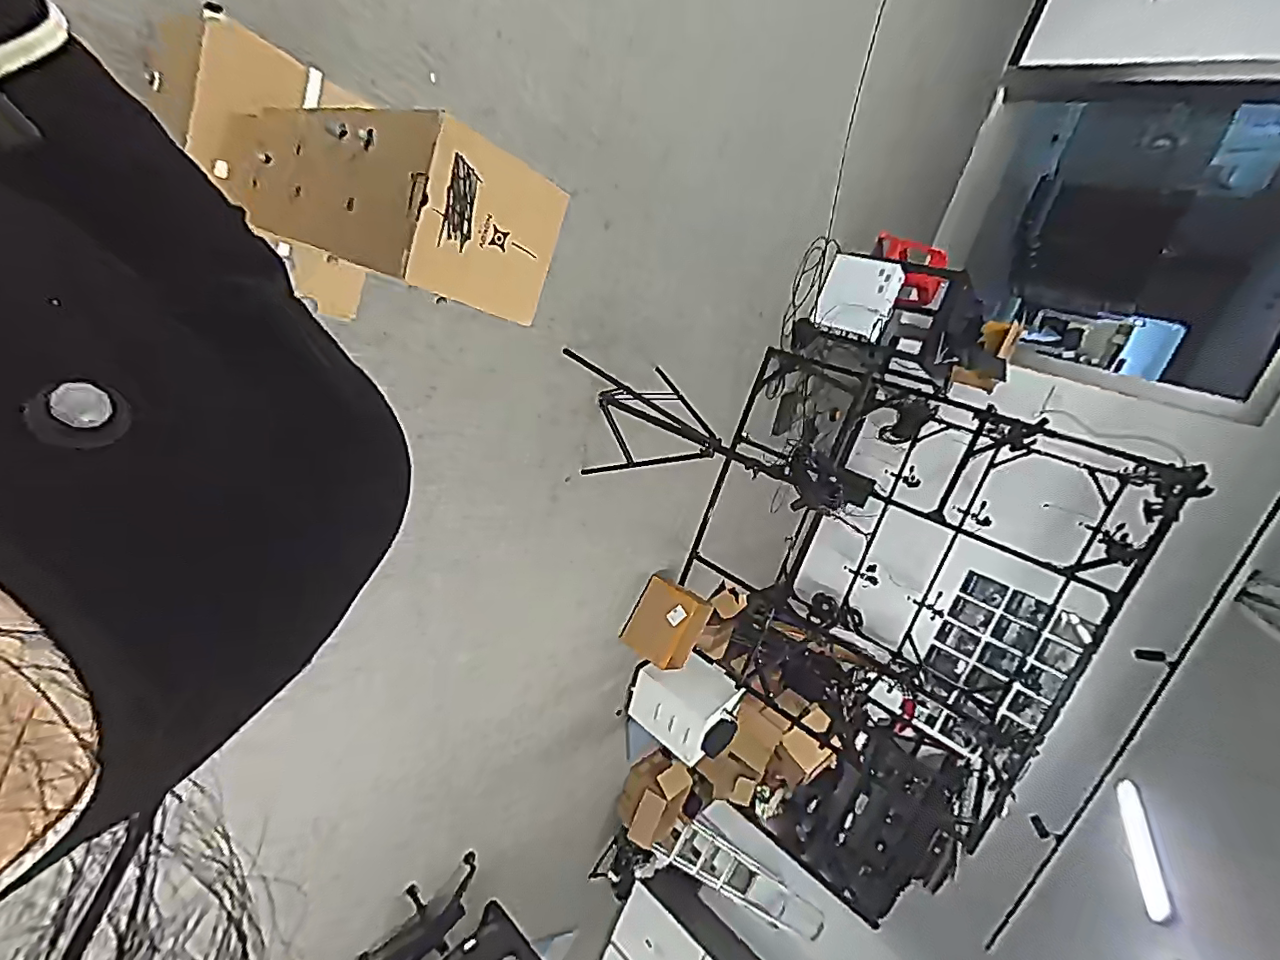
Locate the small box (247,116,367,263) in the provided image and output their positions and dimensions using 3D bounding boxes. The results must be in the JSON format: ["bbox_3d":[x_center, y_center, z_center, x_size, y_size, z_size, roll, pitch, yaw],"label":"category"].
[{"bbox_3d":[-0.461,-0.428,0.825,0.179,0.176,0.168,2,111,-53],"label":"small box"}]

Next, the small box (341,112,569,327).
[{"bbox_3d":[-0.221,-0.300,0.641,0.179,0.176,0.168,4,110,-55],"label":"small box"}]

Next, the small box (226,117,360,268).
[{"bbox_3d":[-0.578,-0.487,0.921,0.168,0.176,0.179,0,114,-53],"label":"small box"}]
